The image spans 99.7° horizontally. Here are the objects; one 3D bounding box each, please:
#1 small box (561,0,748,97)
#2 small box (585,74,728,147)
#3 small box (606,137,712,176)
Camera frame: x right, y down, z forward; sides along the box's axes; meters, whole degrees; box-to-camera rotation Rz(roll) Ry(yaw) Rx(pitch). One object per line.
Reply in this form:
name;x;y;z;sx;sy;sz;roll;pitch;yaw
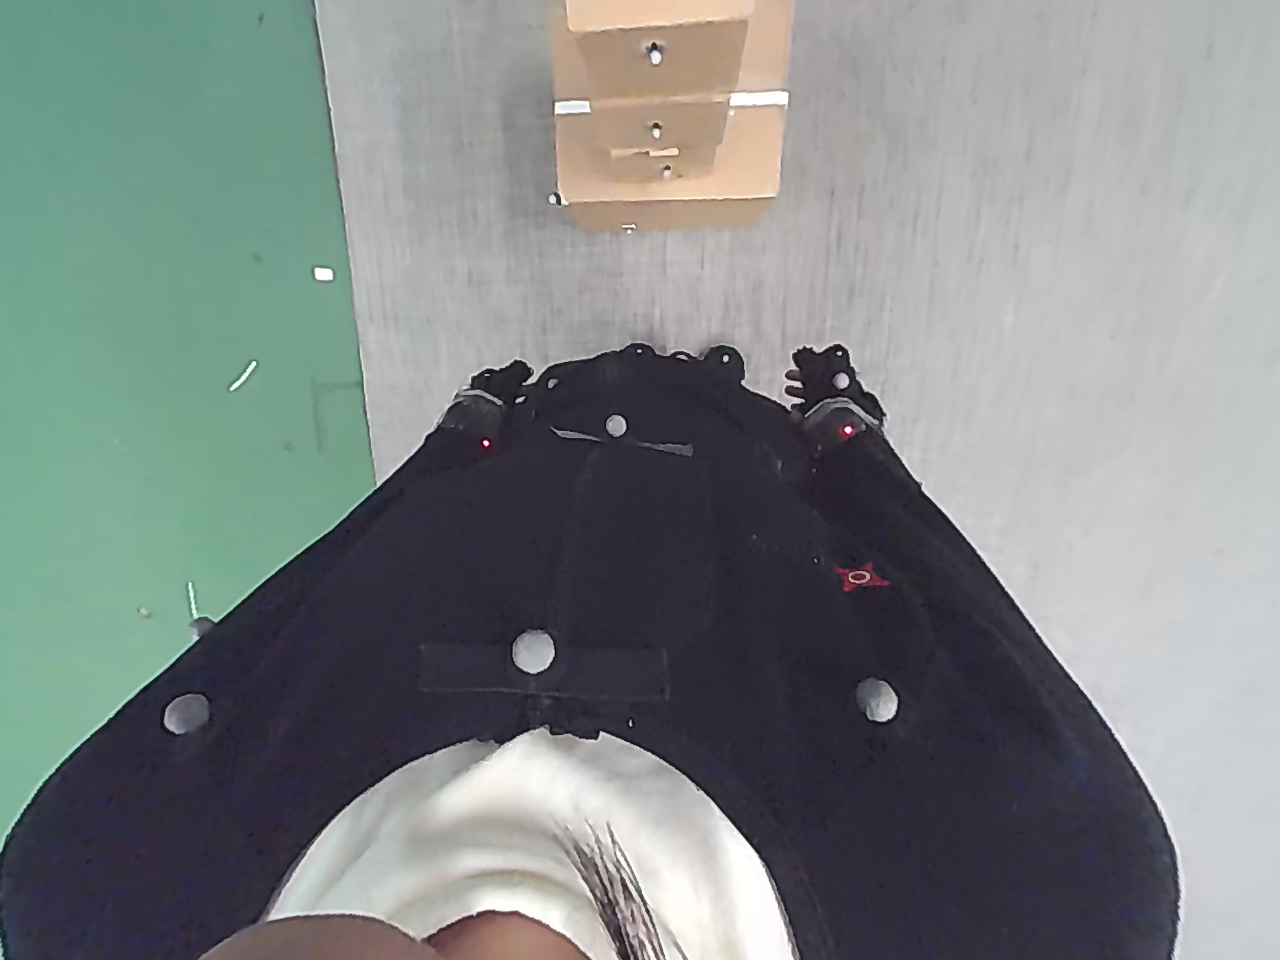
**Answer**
small box;0.018;-0.524;0.561;0.179;0.176;0.168;-1;107;4
small box;0.026;-0.561;0.718;0.179;0.176;0.168;1;106;6
small box;0.033;-0.607;0.876;0.168;0.176;0.179;-2;106;6
